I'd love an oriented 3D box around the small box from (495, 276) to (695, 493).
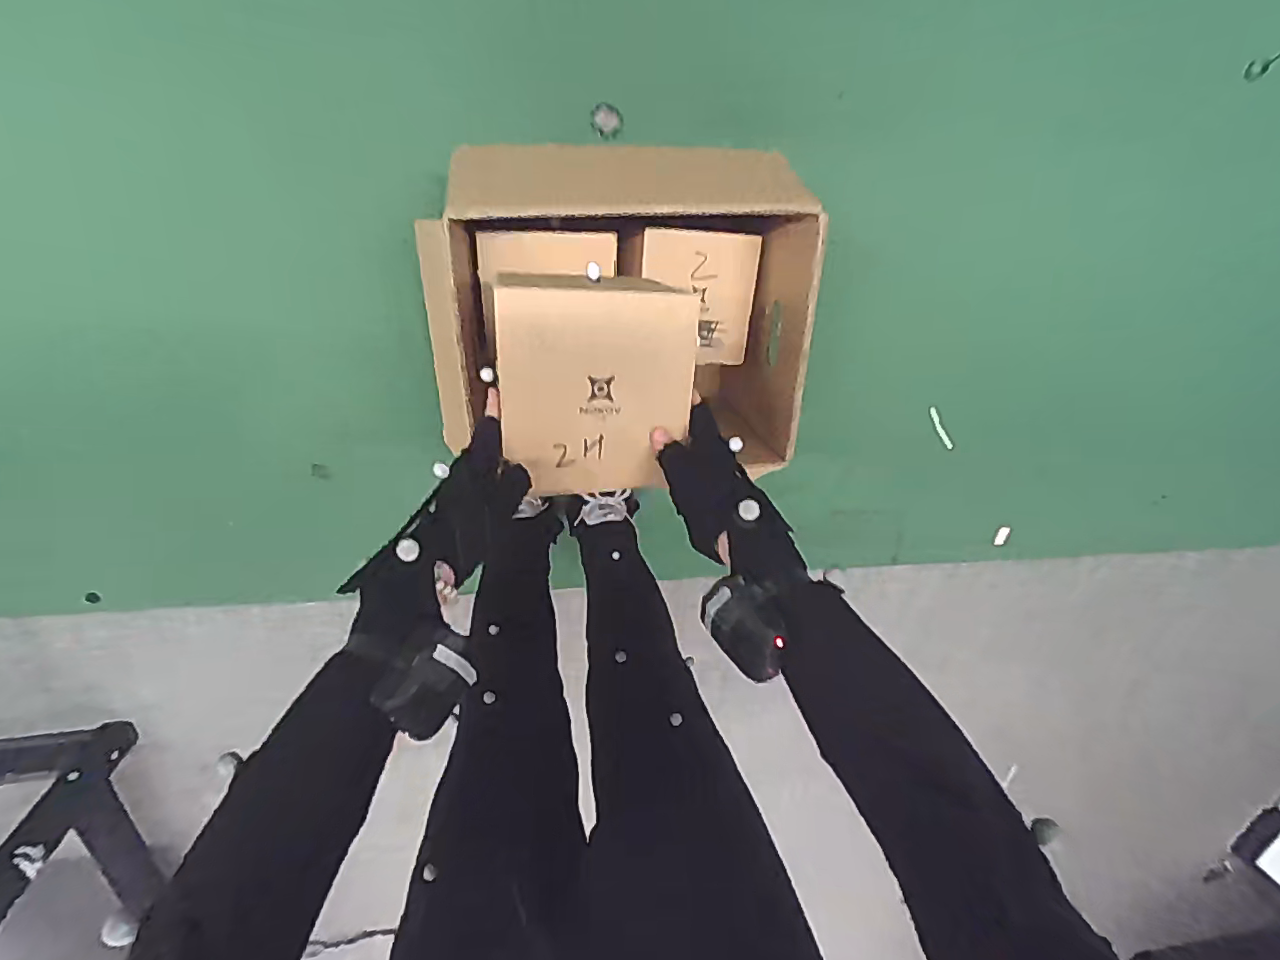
[{"bbox_3d":[-0.055,-0.102,0.532,0.168,0.176,0.179,-3,115,-12],"label":"small box"}]
